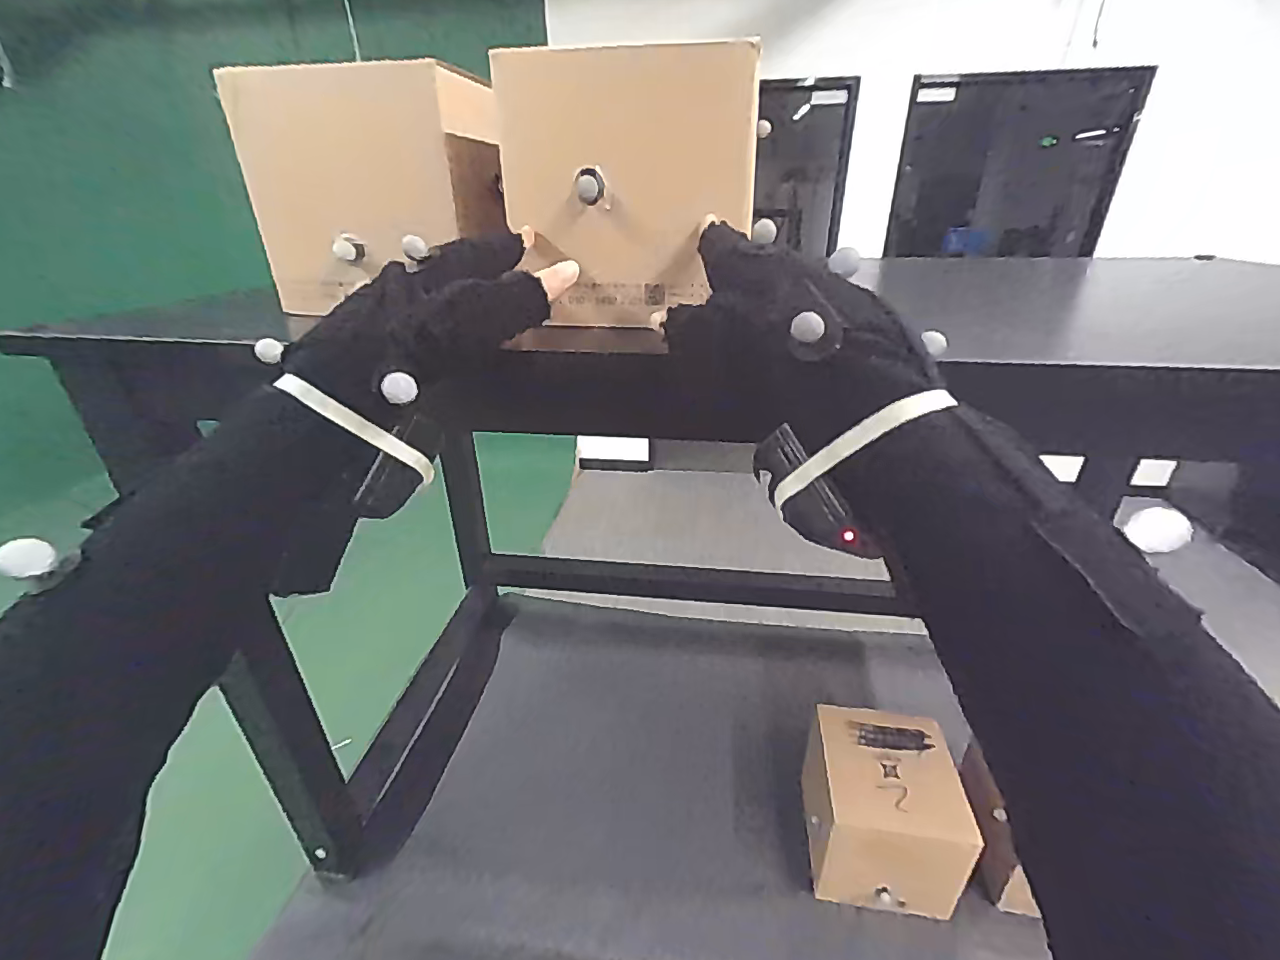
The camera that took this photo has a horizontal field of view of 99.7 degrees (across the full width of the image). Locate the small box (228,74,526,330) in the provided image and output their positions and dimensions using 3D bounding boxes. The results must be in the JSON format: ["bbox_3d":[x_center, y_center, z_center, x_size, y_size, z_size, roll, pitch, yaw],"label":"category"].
[{"bbox_3d":[-0.199,-0.238,0.478,0.168,0.176,0.179,4,28,8],"label":"small box"}]

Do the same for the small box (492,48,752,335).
[{"bbox_3d":[0.002,-0.216,0.434,0.168,0.176,0.179,3,27,8],"label":"small box"}]
